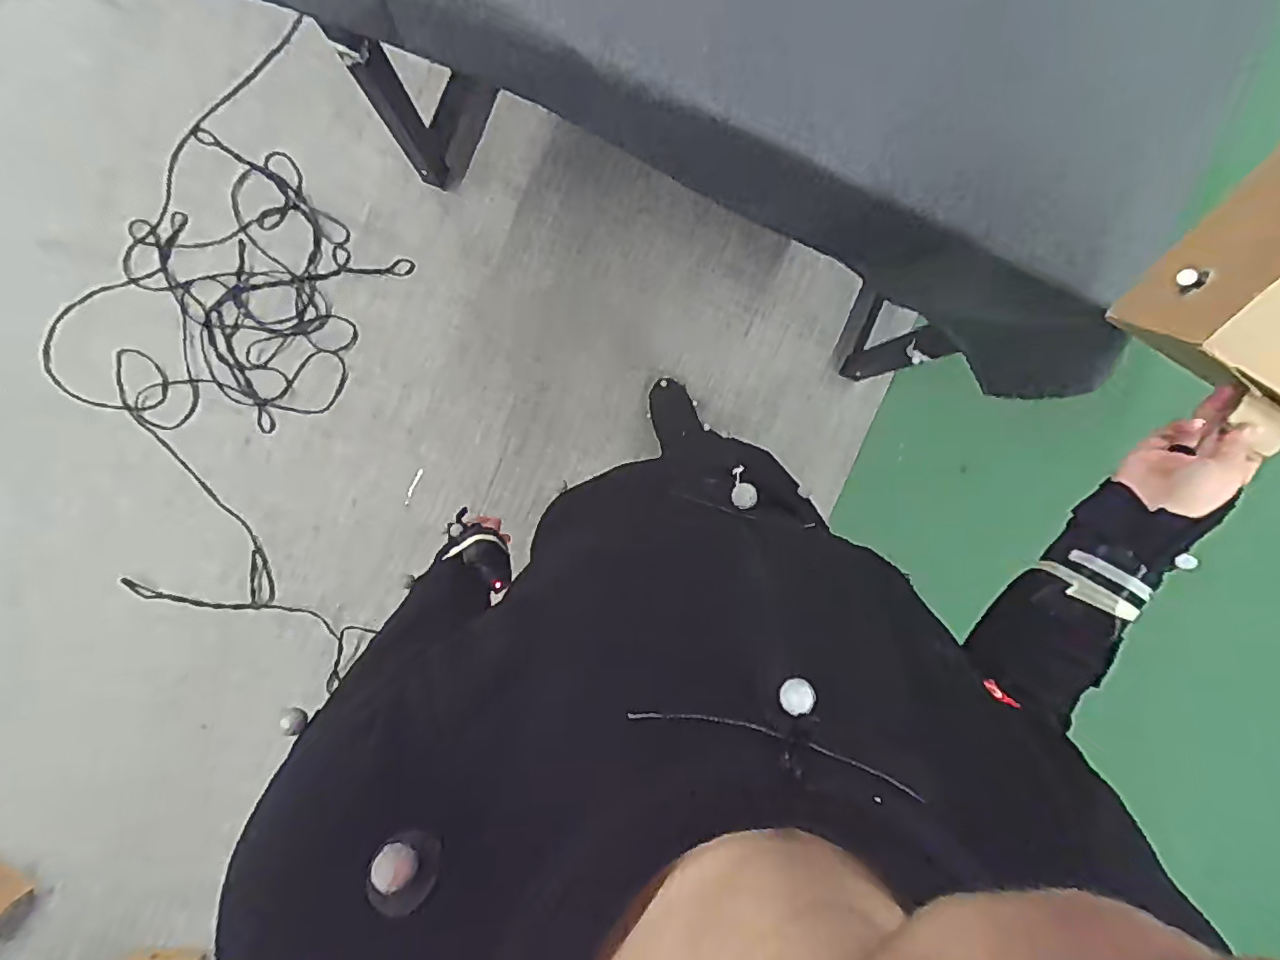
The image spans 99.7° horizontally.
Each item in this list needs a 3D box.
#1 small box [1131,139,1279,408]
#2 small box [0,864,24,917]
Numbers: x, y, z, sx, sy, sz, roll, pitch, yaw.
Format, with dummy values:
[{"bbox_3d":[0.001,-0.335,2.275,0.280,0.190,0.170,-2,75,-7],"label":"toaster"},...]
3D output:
[{"bbox_3d":[0.538,-0.154,0.413,0.168,0.176,0.179,33,120,3],"label":"small box"},{"bbox_3d":[-1.586,0.994,1.218,0.168,0.176,0.179,42,89,-5],"label":"small box"}]
